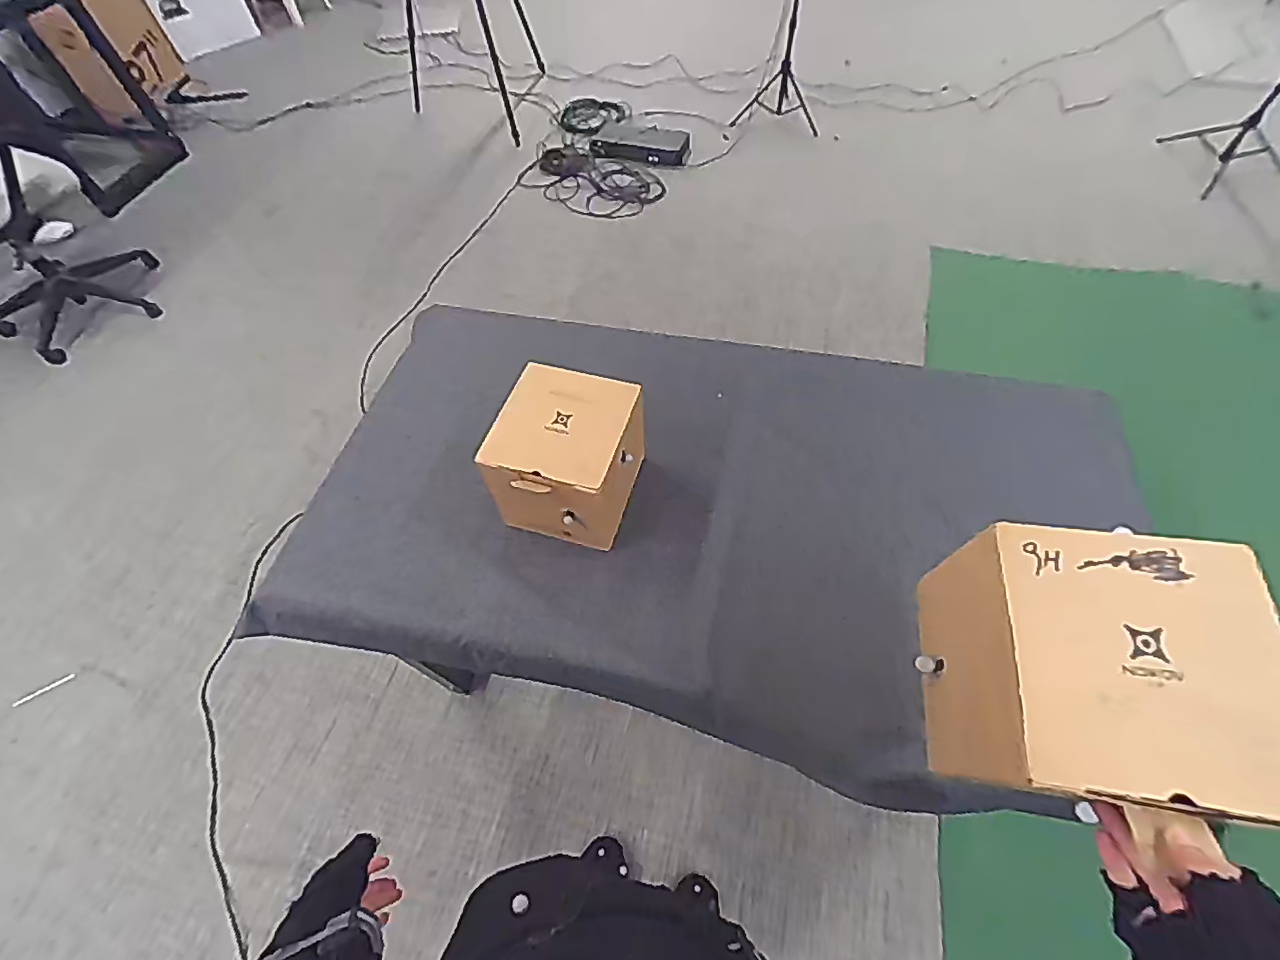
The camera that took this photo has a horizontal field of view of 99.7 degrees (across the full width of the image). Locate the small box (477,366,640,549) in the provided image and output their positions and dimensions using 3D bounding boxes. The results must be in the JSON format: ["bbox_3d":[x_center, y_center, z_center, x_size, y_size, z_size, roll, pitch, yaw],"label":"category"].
[{"bbox_3d":[-0.098,-0.026,0.757,0.168,0.176,0.179,14,58,9],"label":"small box"}]

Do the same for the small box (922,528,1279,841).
[{"bbox_3d":[0.339,0.155,0.423,0.168,0.176,0.179,6,66,9],"label":"small box"}]
